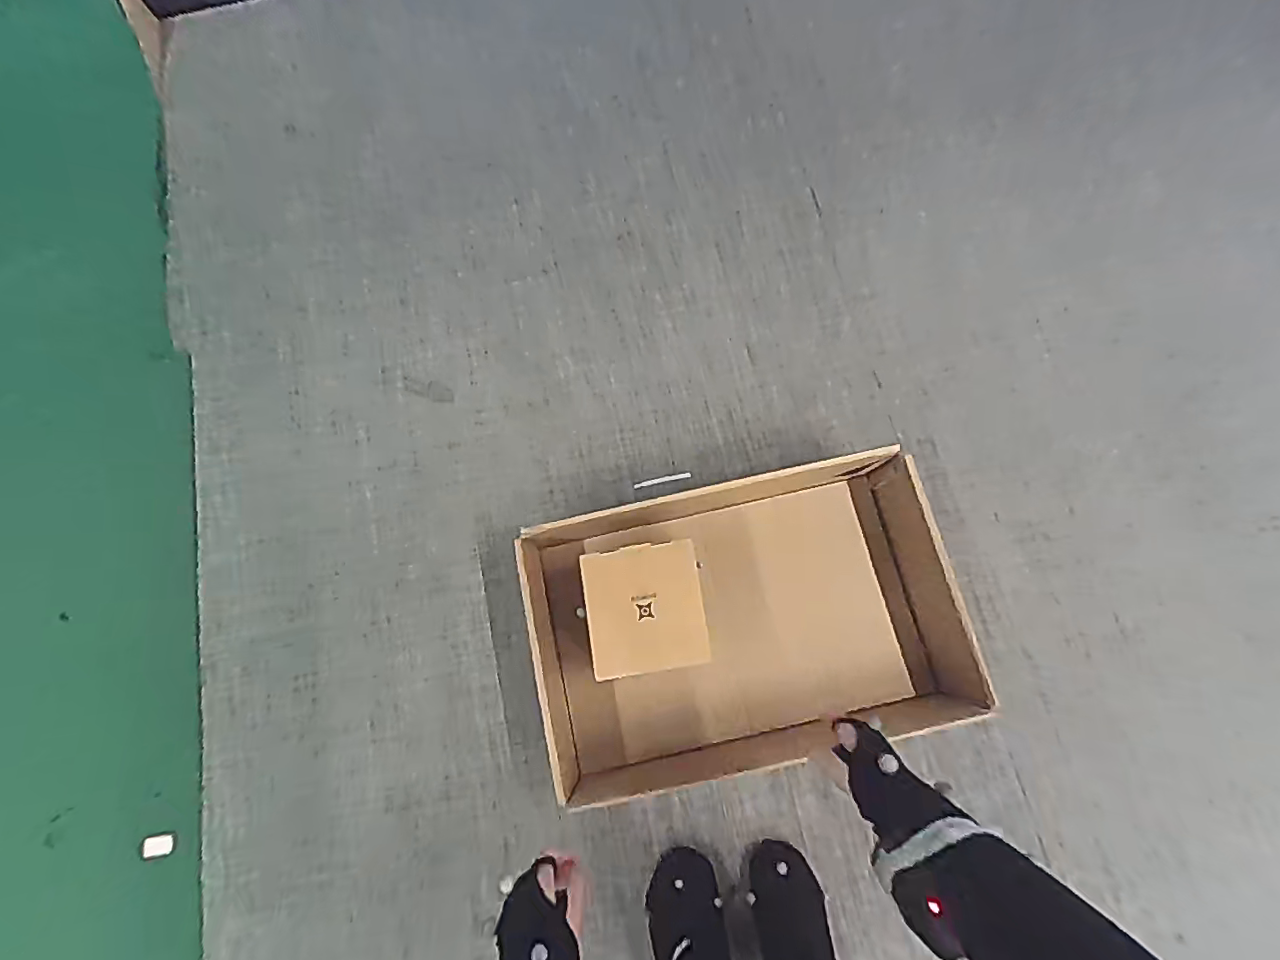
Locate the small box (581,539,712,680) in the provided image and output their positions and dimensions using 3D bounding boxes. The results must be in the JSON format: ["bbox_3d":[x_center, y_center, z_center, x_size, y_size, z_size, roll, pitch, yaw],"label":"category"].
[{"bbox_3d":[0.011,0.195,0.831,0.168,0.176,0.179,-9,76,0],"label":"small box"}]
